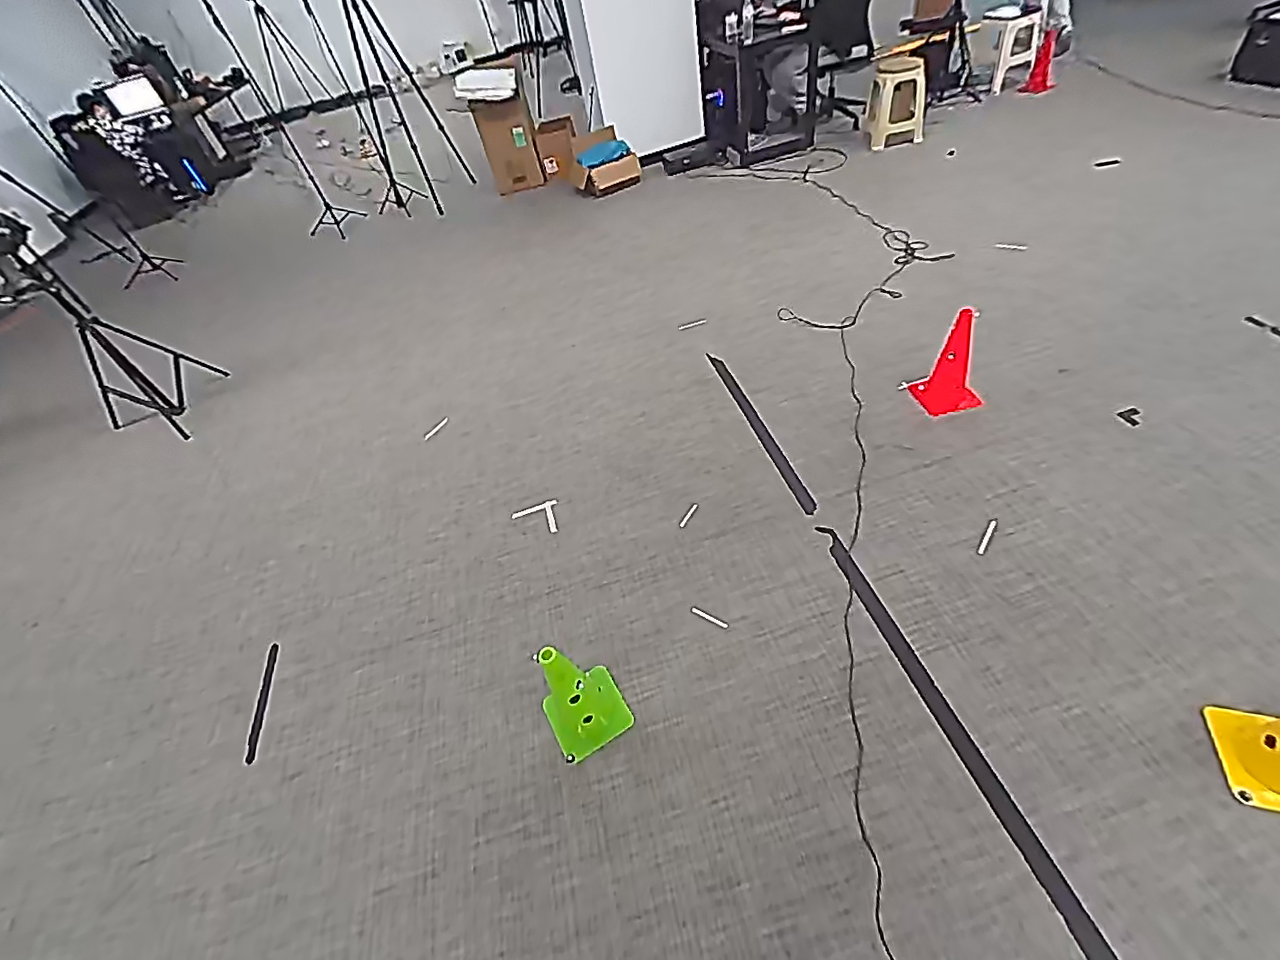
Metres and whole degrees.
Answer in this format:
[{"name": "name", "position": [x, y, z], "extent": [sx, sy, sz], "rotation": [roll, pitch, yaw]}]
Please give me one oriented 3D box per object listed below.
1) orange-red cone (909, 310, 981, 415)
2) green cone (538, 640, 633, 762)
[{"name": "orange-red cone", "position": [1.111, -0.434, 1.908], "extent": [0.198, 0.360, 0.199], "rotation": [-13, 46, 3]}, {"name": "green cone", "position": [-0.172, 0.504, 1.336], "extent": [0.200, 0.368, 0.202], "rotation": [-29, 45, -14]}]
